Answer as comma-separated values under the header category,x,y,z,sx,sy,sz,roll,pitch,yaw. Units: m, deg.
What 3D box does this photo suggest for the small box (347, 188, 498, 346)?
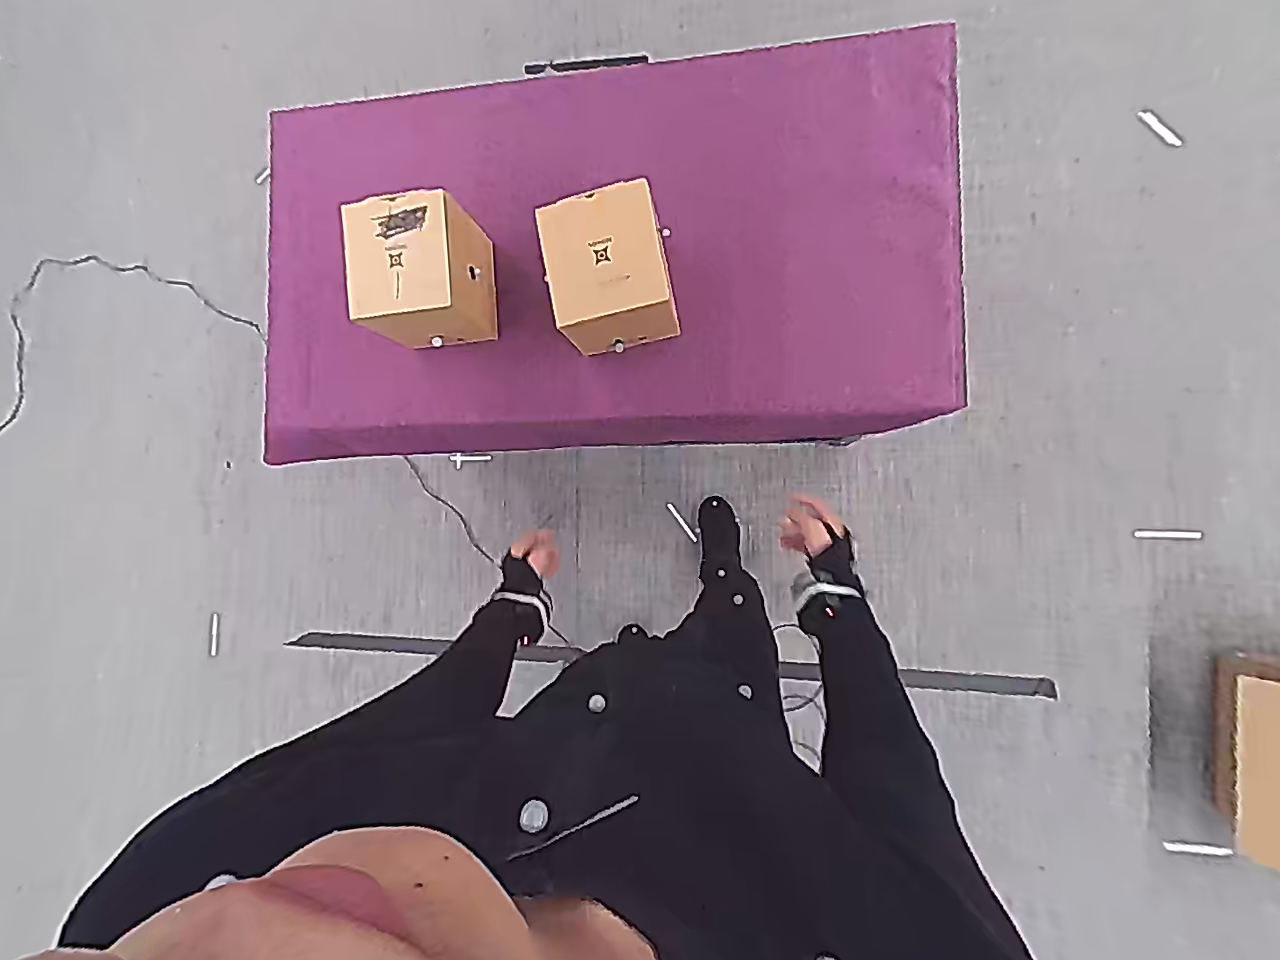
category,x,y,z,sx,sy,sz,roll,pitch,yaw
small box,-0.342,-0.333,0.875,0.168,0.176,0.179,-5,88,9

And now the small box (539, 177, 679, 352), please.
category,x,y,z,sx,sy,sz,roll,pitch,yaw
small box,-0.040,-0.317,0.830,0.168,0.176,0.179,-11,86,9
